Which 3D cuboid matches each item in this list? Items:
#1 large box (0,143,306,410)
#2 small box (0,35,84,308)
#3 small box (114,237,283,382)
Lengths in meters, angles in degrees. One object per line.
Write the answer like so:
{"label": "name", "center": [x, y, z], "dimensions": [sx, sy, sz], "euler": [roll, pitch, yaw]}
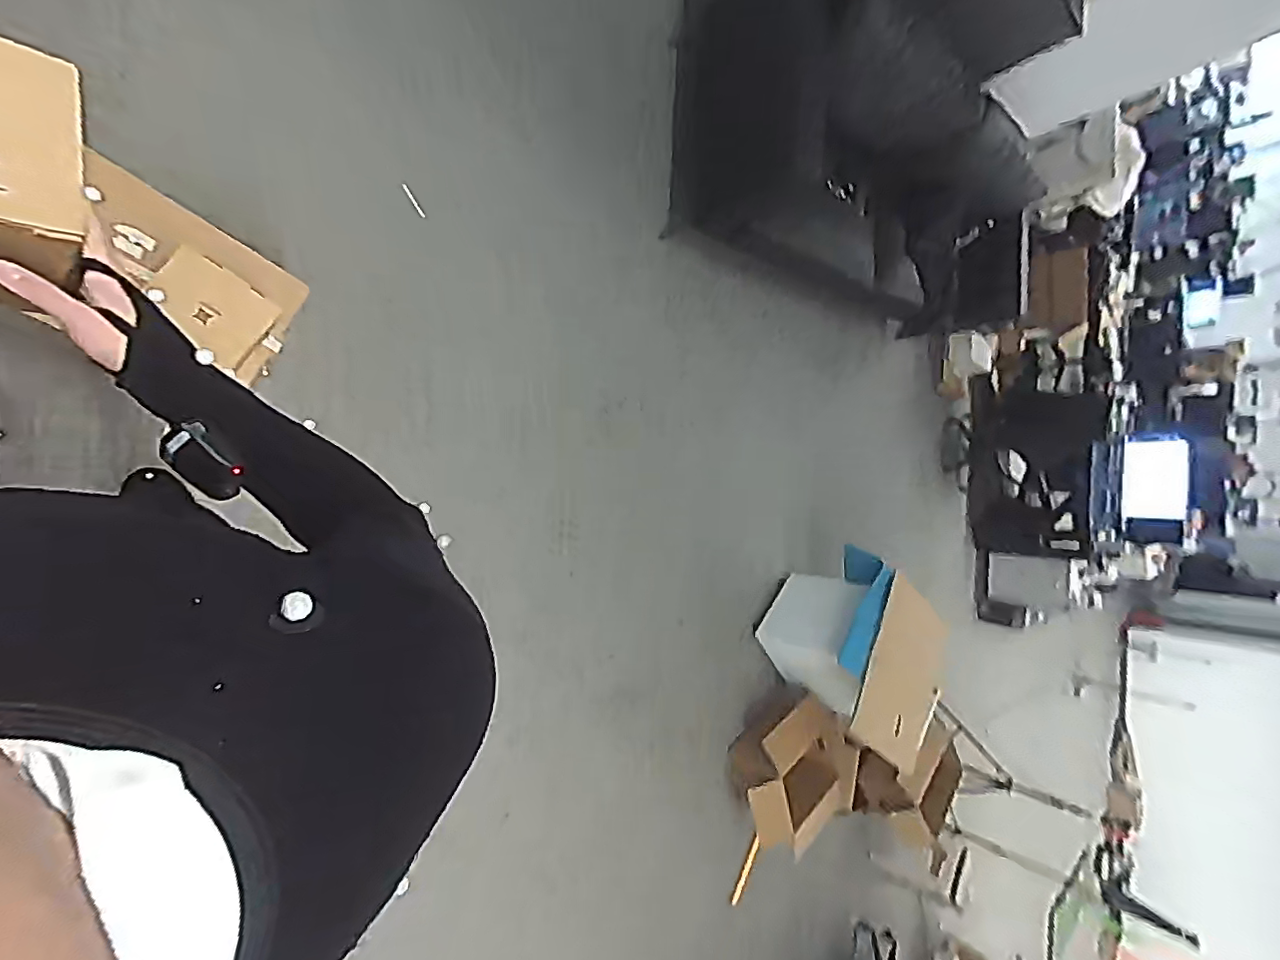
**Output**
{"label": "large box", "center": [-1.002, -0.380, 1.132], "dimensions": [0.408, 0.320, 0.320], "euler": [33, 70, -35]}
{"label": "small box", "center": [-0.608, -0.274, 0.473], "dimensions": [0.168, 0.176, 0.179], "euler": [-3, 80, -48]}
{"label": "small box", "center": [-0.798, -0.299, 0.986], "dimensions": [0.168, 0.176, 0.179], "euler": [40, 69, -33]}
